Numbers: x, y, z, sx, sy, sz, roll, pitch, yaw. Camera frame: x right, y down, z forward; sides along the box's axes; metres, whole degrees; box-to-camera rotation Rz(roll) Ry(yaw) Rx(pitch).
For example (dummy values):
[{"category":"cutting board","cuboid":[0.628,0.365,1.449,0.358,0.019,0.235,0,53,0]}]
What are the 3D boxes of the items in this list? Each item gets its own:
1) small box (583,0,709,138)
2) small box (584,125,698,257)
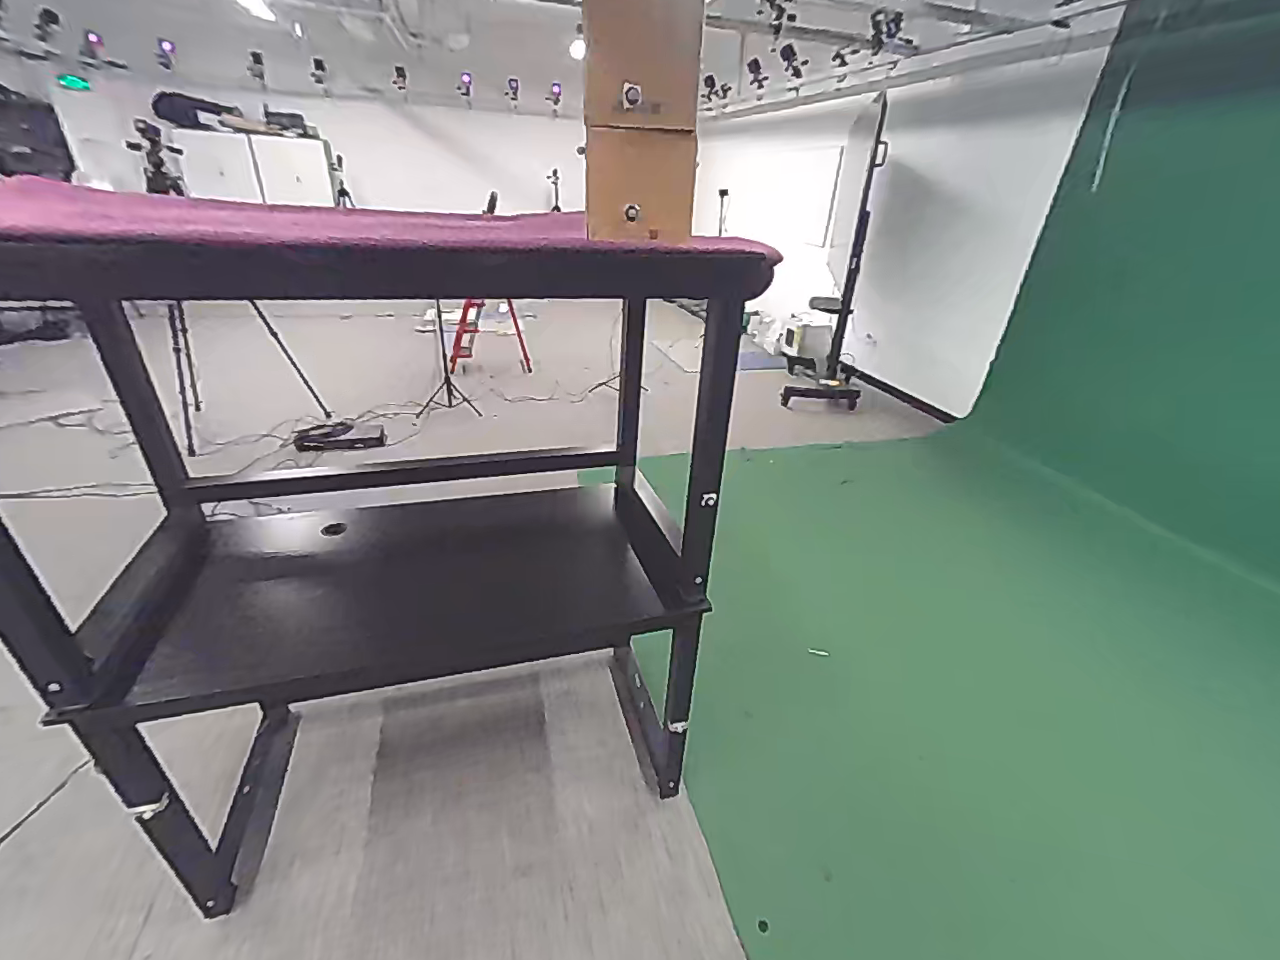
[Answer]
[{"category":"small box","cuboid":[0.002,-0.609,0.802,0.168,0.176,0.179,0,31,-3]},{"category":"small box","cuboid":[-0.008,-0.472,0.888,0.168,0.176,0.179,-1,30,-7]}]
